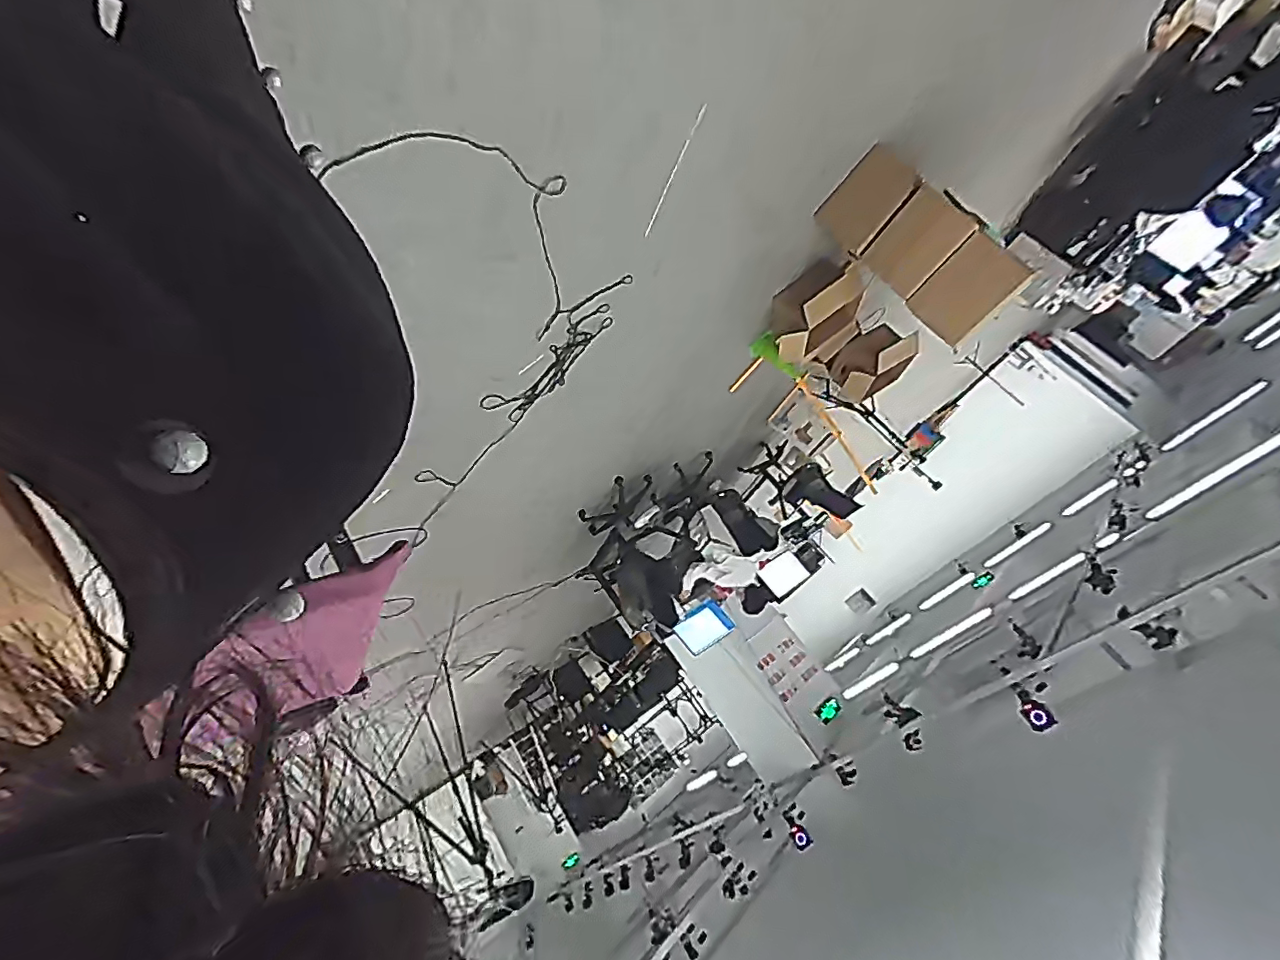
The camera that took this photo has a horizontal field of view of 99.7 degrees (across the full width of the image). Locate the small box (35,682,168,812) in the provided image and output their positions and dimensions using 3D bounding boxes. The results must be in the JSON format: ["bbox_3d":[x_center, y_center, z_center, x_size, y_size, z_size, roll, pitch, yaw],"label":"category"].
[{"bbox_3d":[-1.141,0.560,1.151,0.168,0.176,0.179,-16,151,-43],"label":"small box"}]
